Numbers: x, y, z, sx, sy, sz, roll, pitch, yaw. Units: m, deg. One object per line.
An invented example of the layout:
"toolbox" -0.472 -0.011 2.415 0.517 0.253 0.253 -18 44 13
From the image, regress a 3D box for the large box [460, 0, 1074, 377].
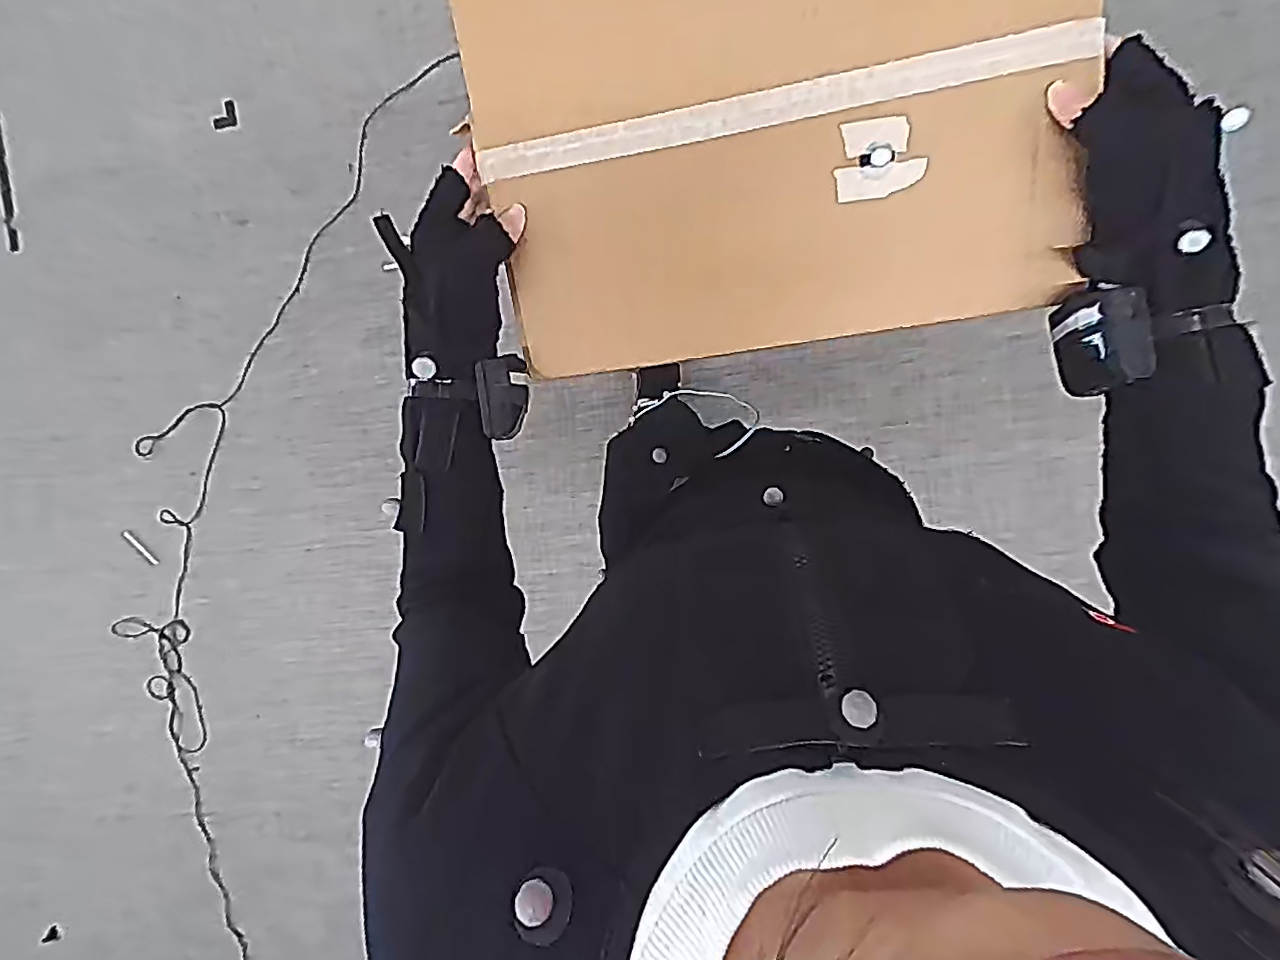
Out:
"large box" 0.099 -0.296 0.524 0.408 0.320 0.320 -7 106 8
